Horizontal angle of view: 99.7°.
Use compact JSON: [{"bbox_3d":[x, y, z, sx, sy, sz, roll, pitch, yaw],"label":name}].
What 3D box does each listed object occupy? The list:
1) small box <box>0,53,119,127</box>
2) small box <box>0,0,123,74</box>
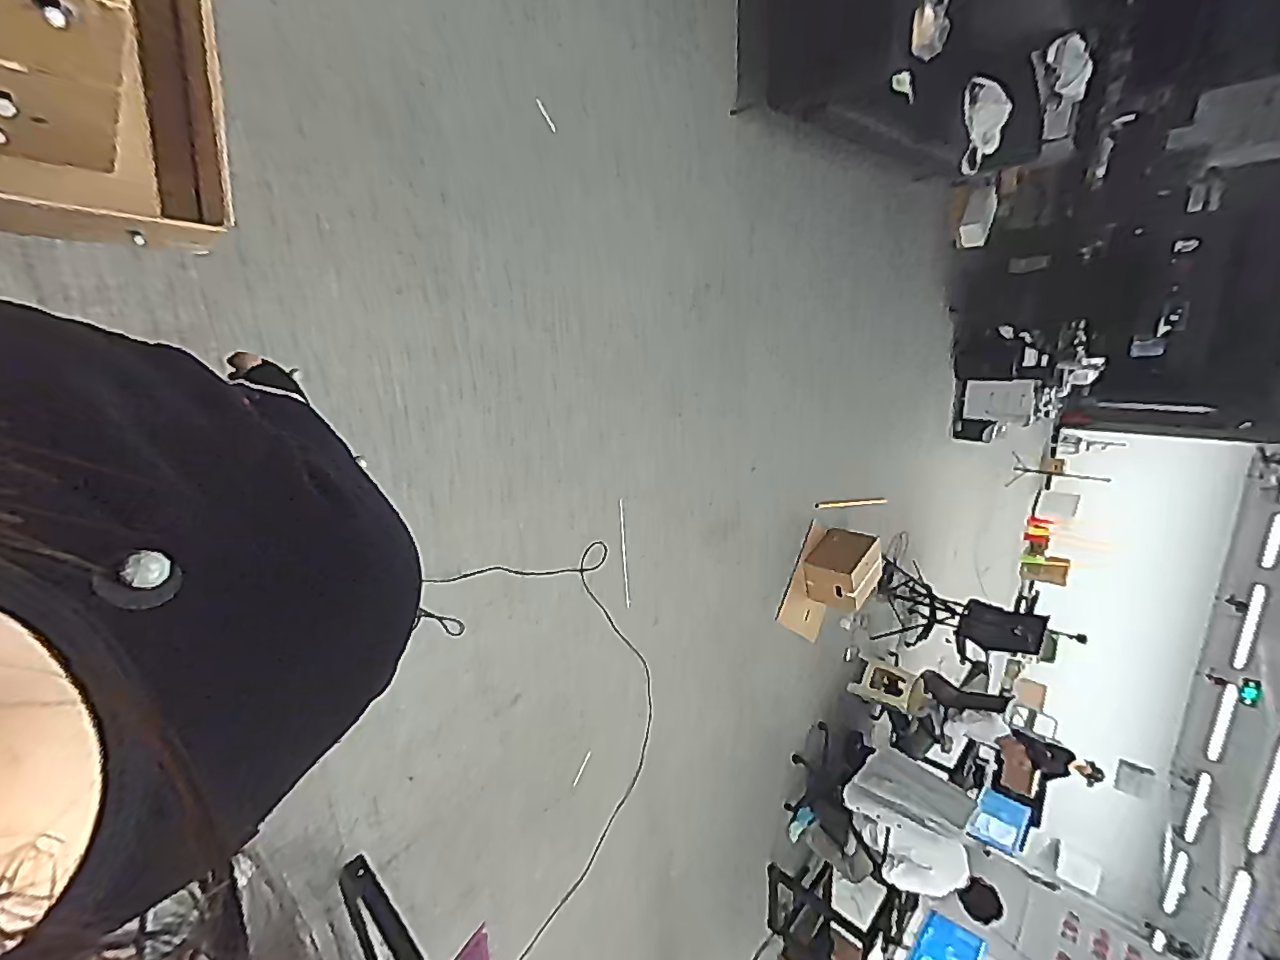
[{"bbox_3d":[-0.588,-0.443,0.476,0.168,0.176,0.179,-14,110,-43],"label":"small box"},{"bbox_3d":[-0.477,-0.413,0.360,0.179,0.176,0.168,-13,109,-44],"label":"small box"}]
